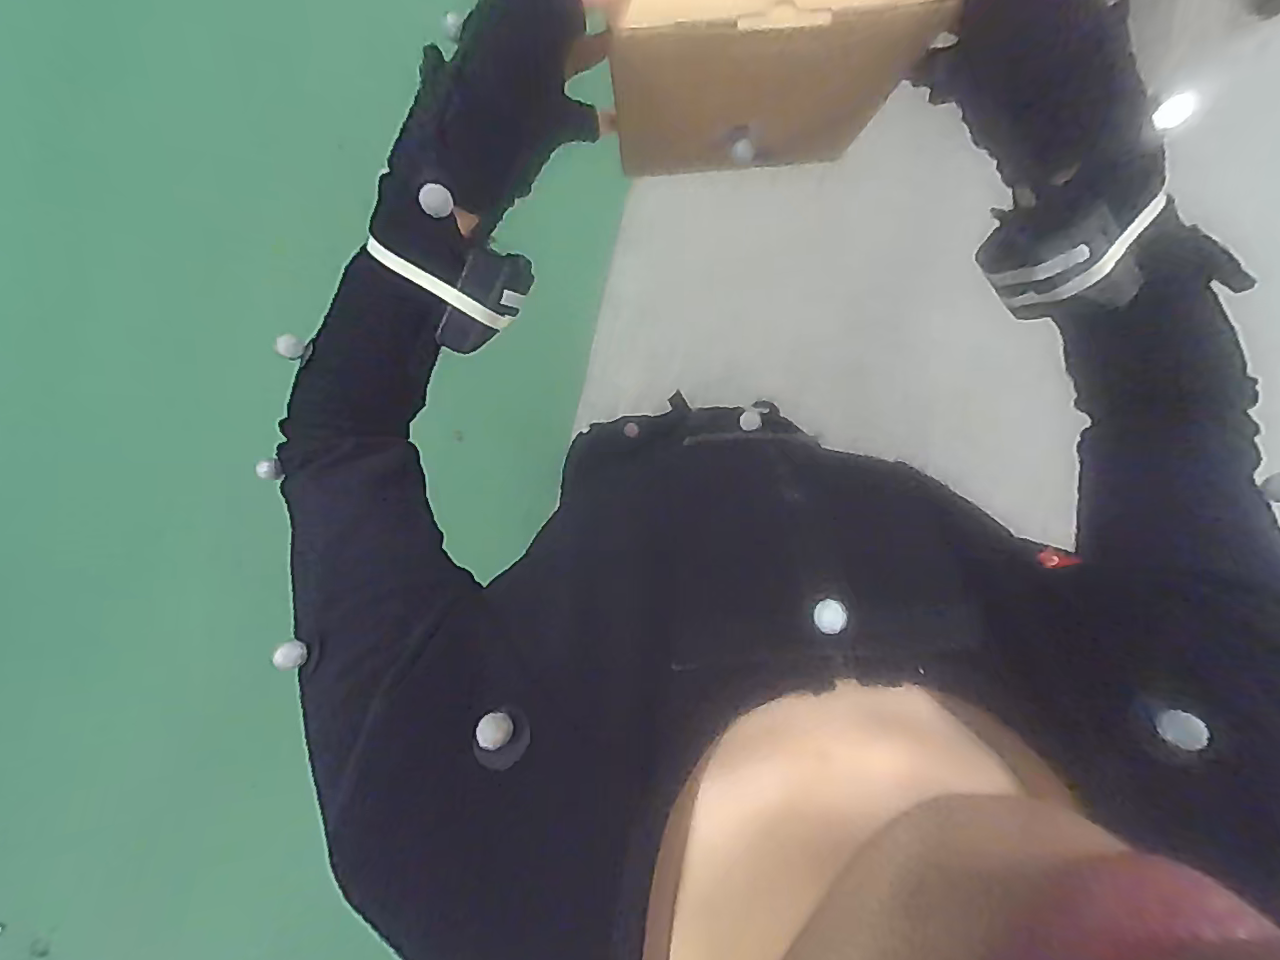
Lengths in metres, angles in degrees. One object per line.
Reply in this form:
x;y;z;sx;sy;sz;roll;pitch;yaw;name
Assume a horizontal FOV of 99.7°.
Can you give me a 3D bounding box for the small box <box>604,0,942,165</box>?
0.060;-0.316;0.313;0.168;0.176;0.179;-3;97;2;small box
